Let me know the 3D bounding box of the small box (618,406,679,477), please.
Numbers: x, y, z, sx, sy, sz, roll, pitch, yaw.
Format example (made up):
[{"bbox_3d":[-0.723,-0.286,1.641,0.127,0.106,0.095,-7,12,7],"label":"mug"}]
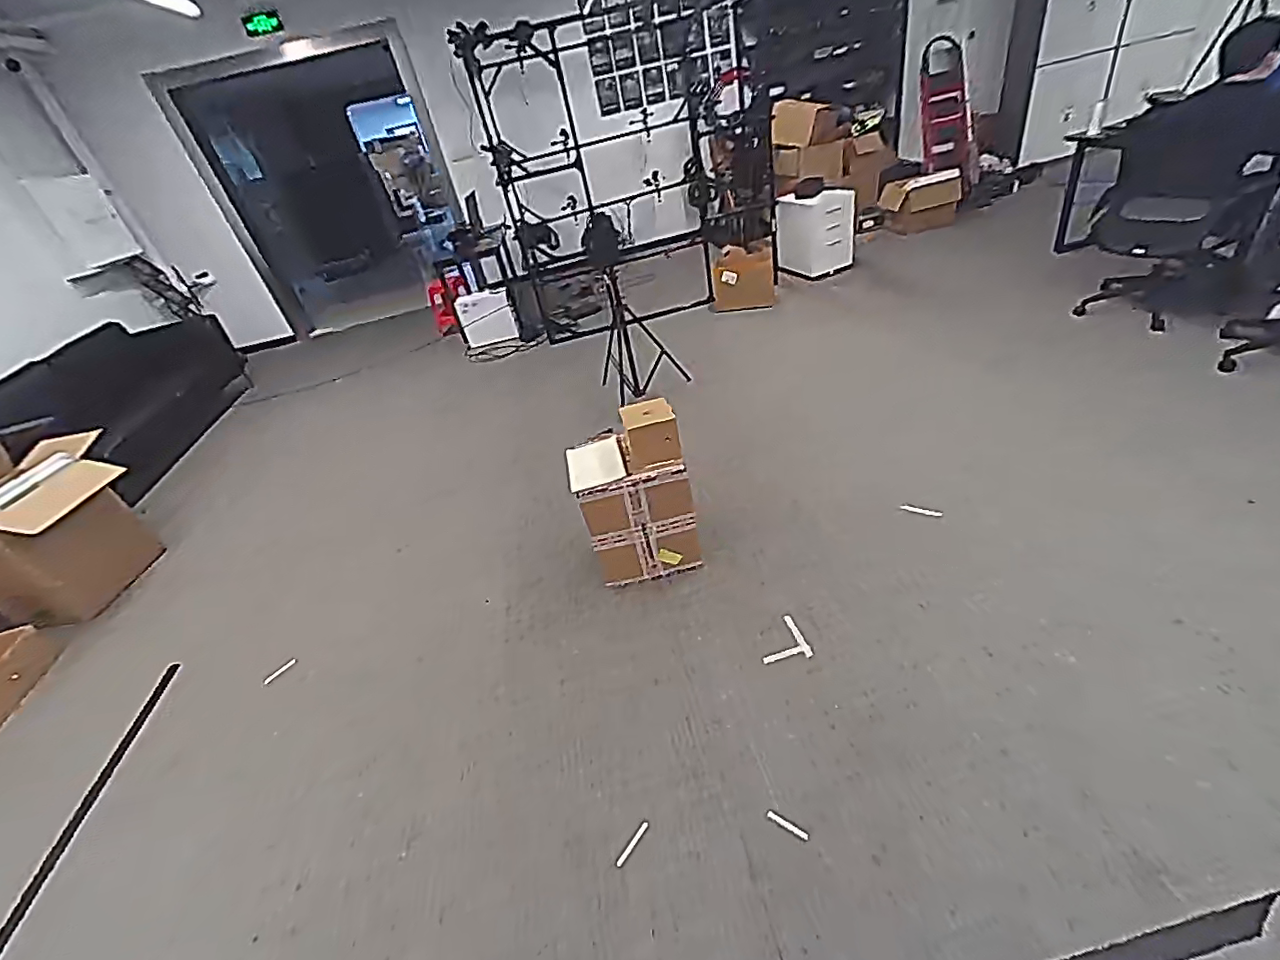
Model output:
[{"bbox_3d":[0.032,-0.134,1.905,0.179,0.176,0.168,-15,36,-4],"label":"small box"}]
